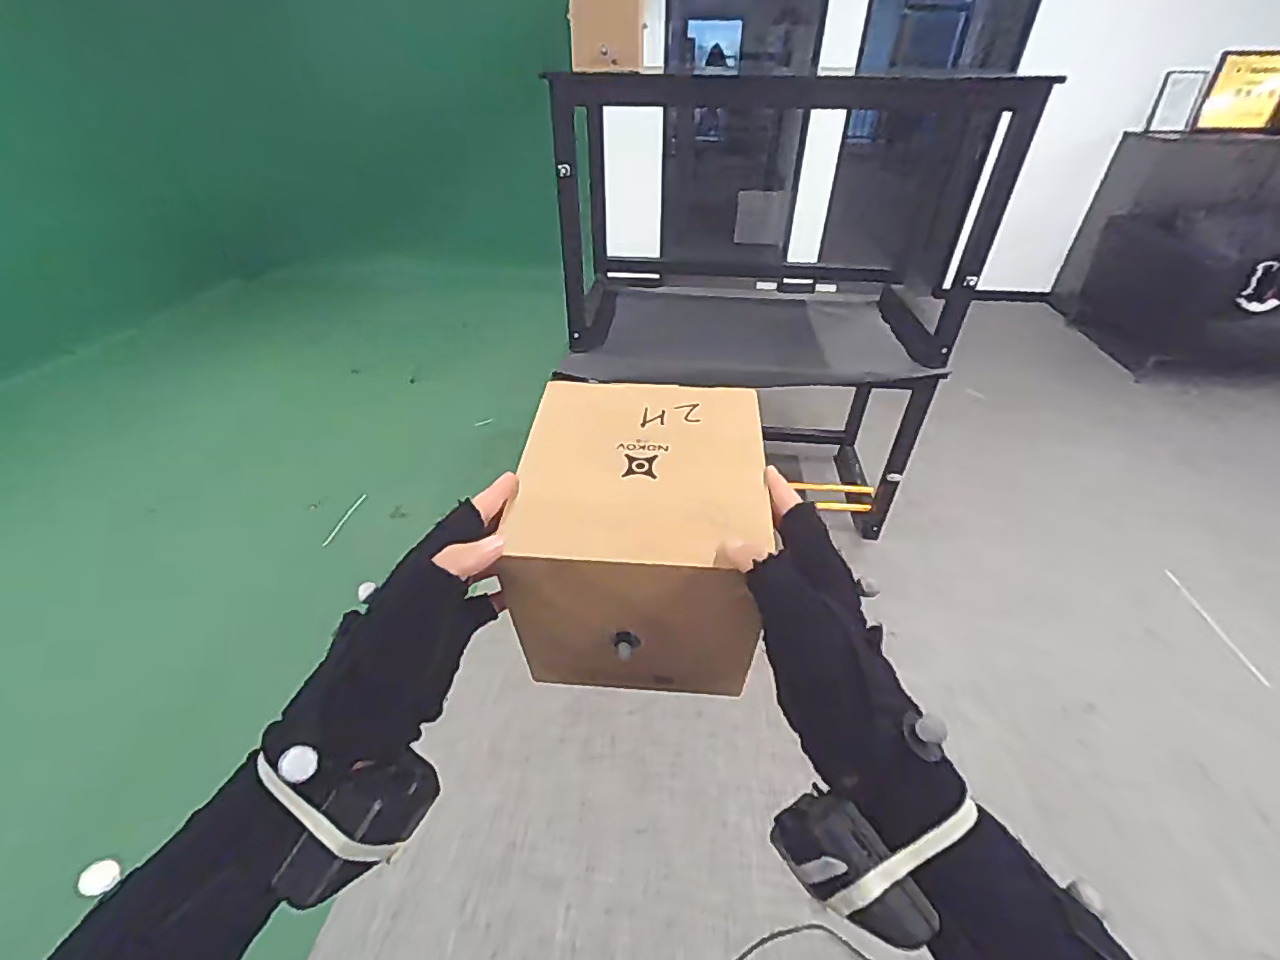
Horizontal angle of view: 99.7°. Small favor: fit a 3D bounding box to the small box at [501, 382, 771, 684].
[{"bbox_3d":[0.005,0.043,0.432,0.168,0.176,0.179,4,44,4],"label":"small box"}]
